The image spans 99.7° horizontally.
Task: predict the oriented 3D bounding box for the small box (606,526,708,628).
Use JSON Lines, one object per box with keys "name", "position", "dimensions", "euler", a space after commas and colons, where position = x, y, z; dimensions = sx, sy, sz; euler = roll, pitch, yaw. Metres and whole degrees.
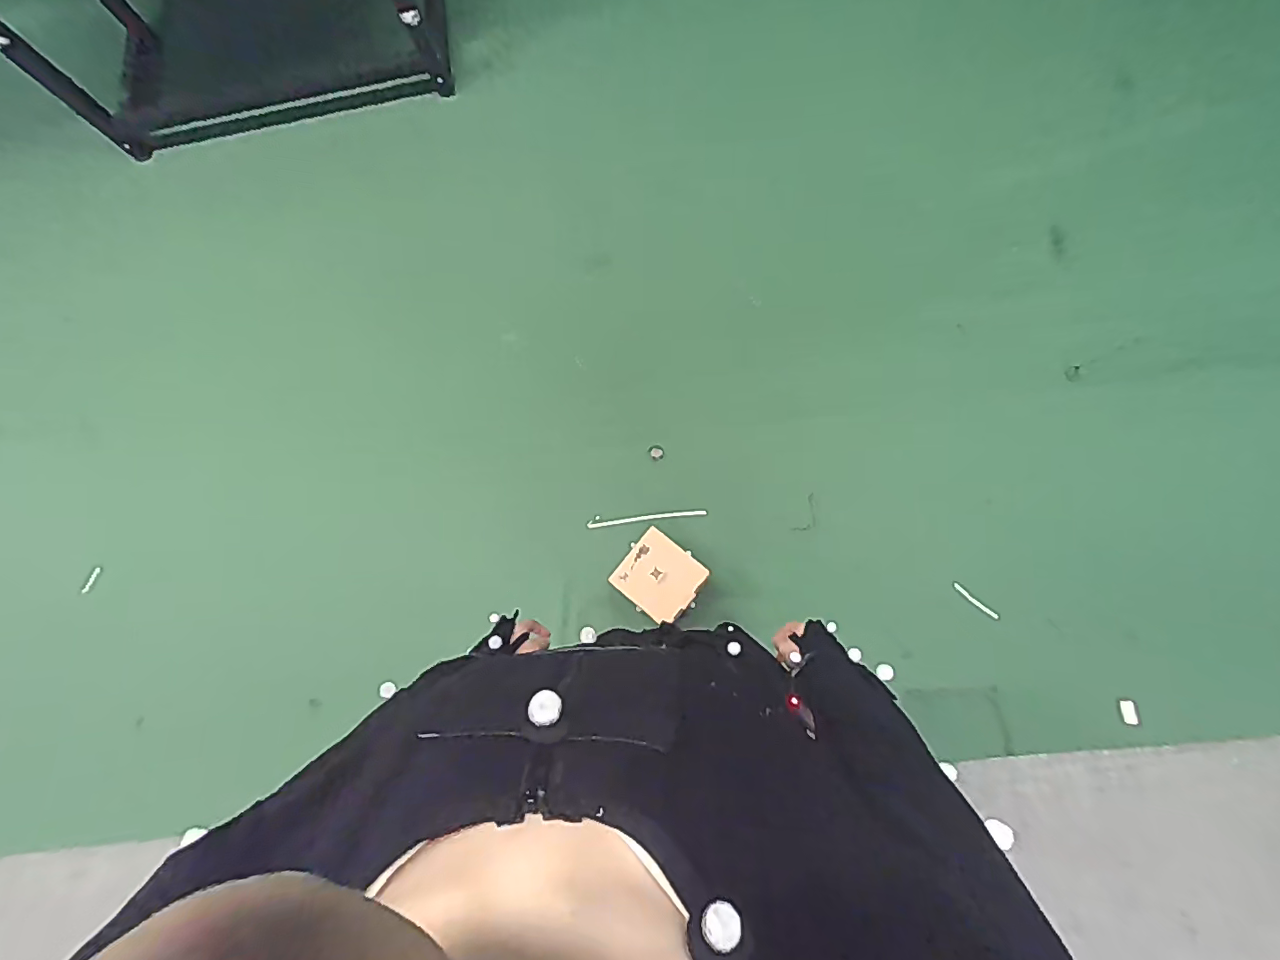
{"name": "small box", "position": [0.046, 0.234, 1.303], "dimensions": [0.179, 0.176, 0.168], "euler": [38, 82, 12]}
